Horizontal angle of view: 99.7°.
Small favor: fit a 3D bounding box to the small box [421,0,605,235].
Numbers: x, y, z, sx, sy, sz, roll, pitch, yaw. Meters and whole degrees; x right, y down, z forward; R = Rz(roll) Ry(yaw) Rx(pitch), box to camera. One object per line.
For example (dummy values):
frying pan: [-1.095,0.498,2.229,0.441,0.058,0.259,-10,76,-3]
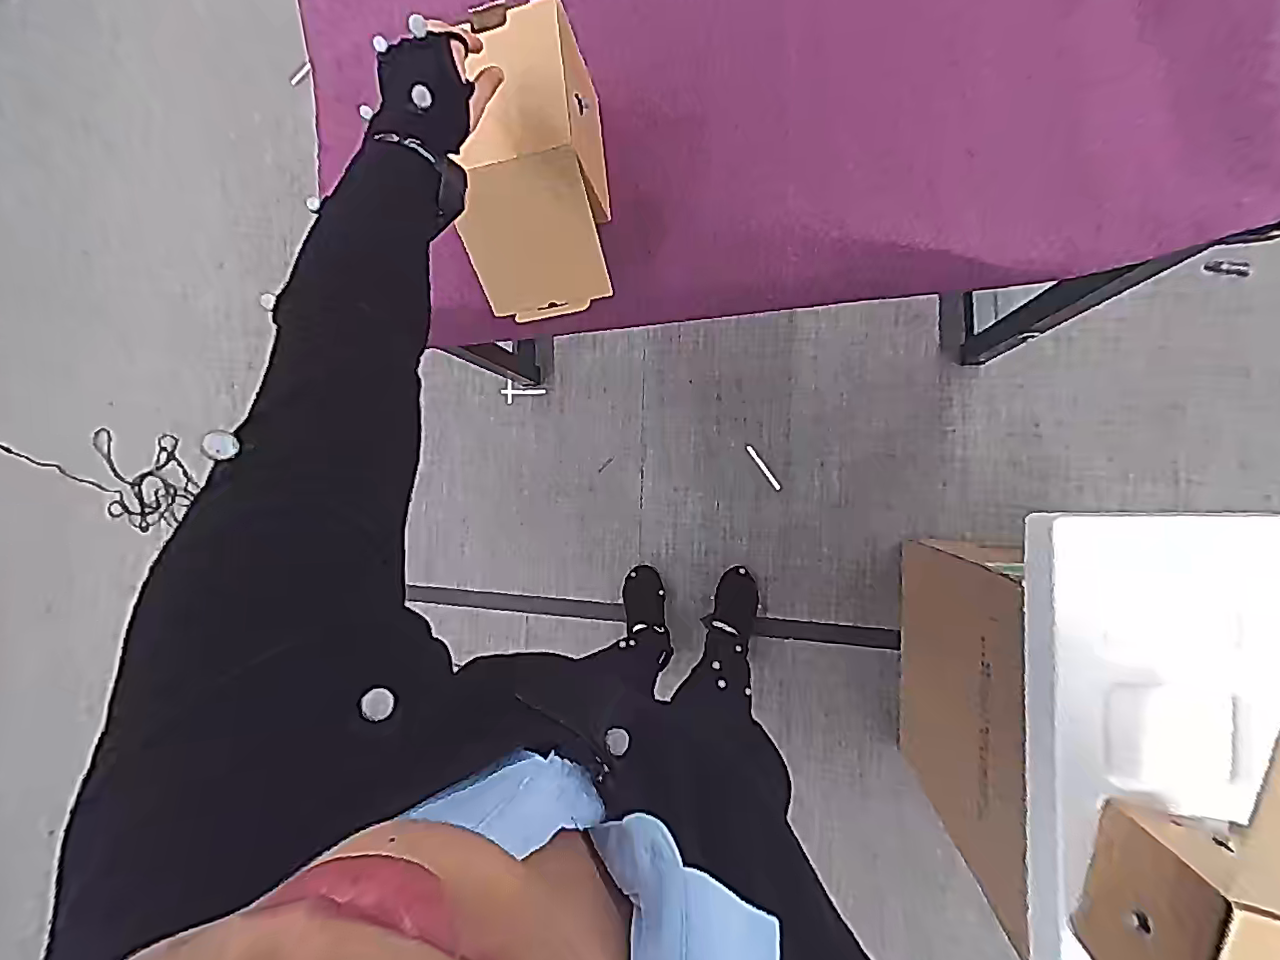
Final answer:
small box: [-0.147,-0.430,0.675,0.168,0.176,0.179,-7,87,10]
